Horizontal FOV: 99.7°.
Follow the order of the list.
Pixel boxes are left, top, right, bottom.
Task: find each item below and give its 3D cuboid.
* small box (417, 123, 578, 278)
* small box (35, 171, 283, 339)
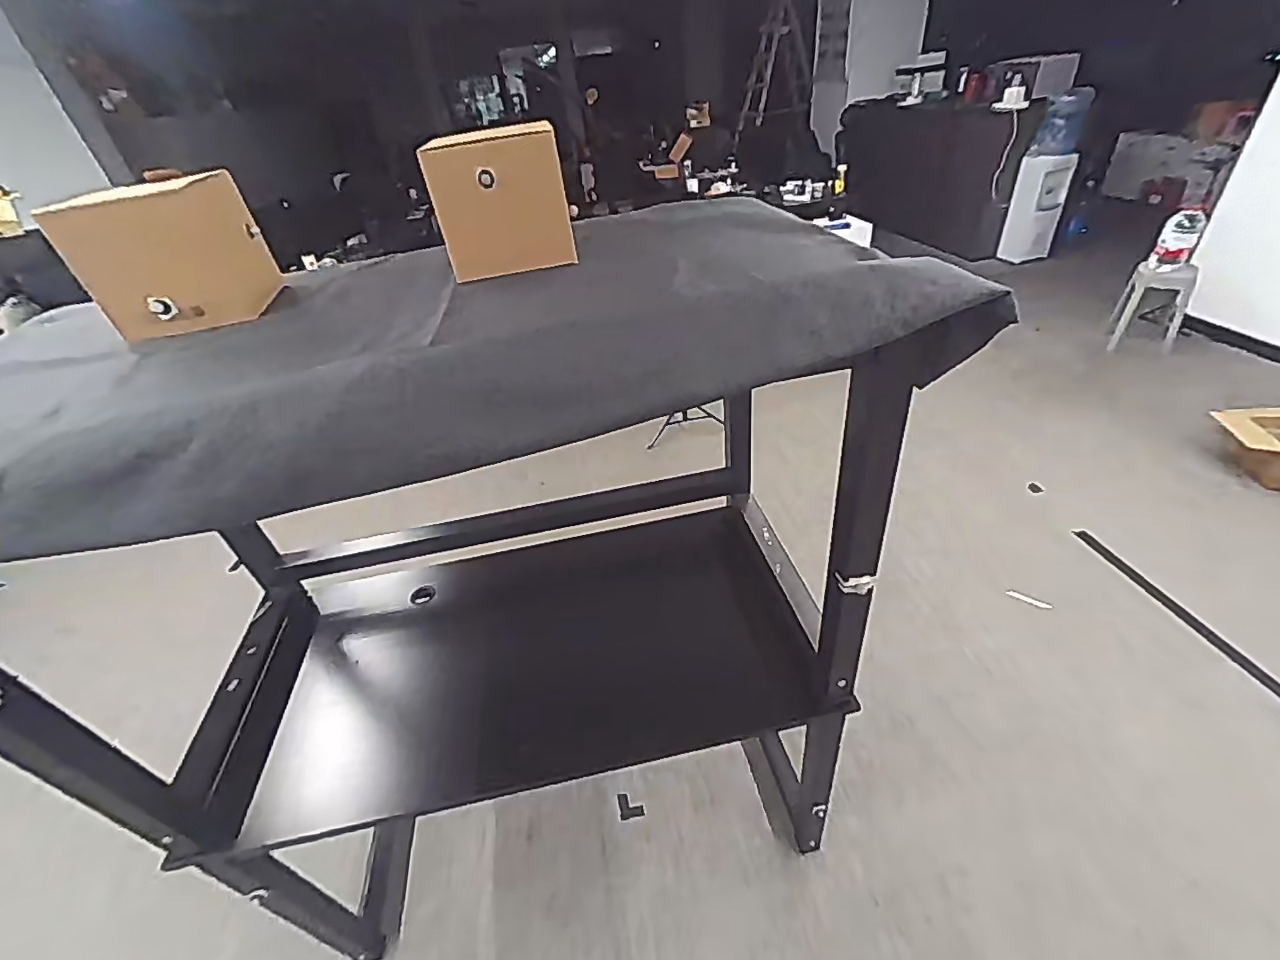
[{"bbox_3d":[-0.195,-0.405,0.786,0.179,0.176,0.168,-11,37,-3],"label":"small box"},{"bbox_3d":[-0.632,-0.312,0.746,0.168,0.176,0.179,-15,37,-8],"label":"small box"}]
